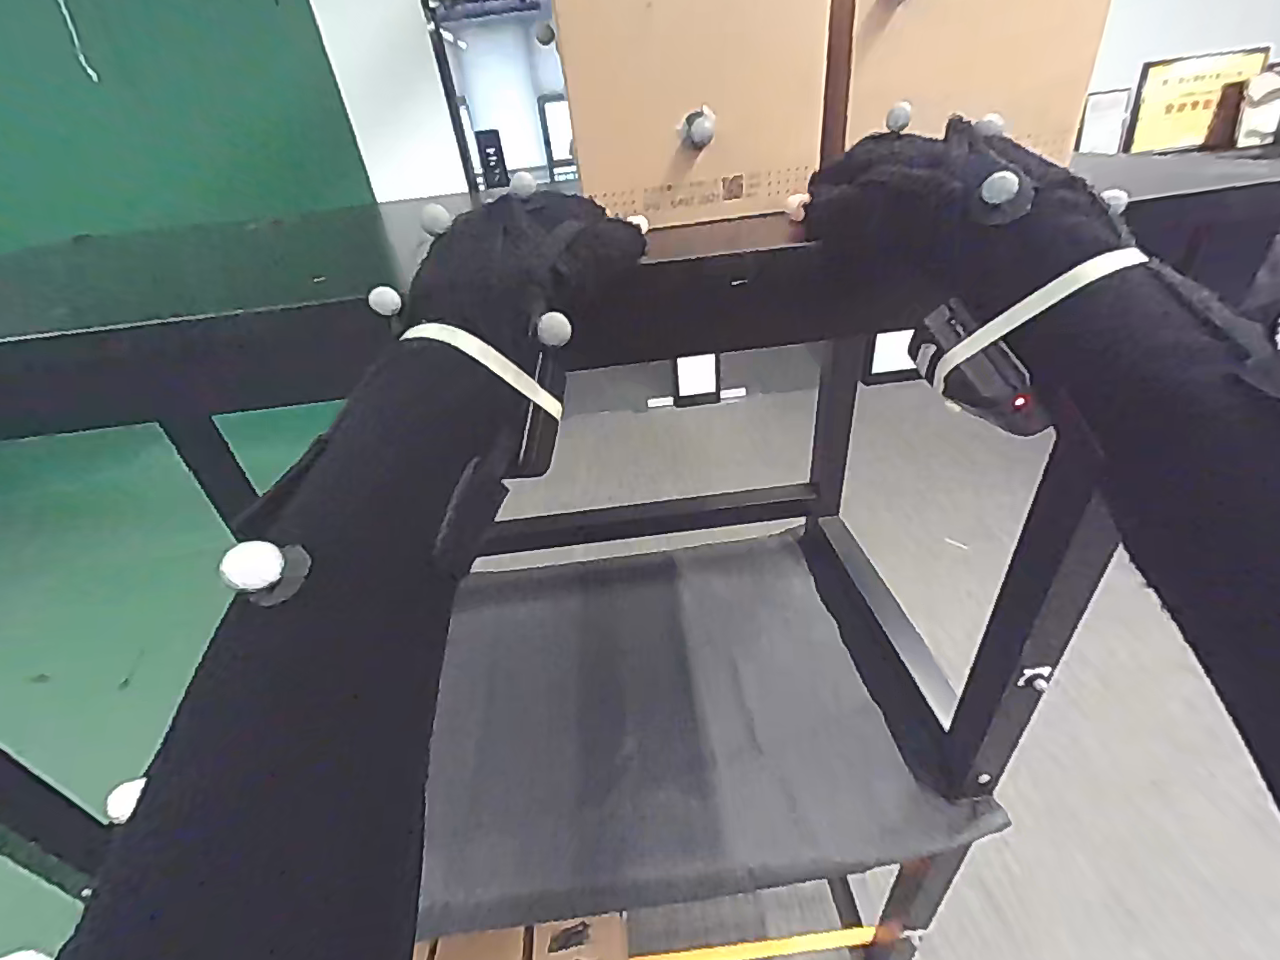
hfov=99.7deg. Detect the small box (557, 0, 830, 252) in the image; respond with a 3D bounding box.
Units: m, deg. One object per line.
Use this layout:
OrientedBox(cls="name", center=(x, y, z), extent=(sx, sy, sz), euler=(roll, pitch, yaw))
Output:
OrientedBox(cls="small box", center=(0.030, -0.283, 0.418), extent=(0.168, 0.176, 0.179), euler=(-8, 33, -1))
